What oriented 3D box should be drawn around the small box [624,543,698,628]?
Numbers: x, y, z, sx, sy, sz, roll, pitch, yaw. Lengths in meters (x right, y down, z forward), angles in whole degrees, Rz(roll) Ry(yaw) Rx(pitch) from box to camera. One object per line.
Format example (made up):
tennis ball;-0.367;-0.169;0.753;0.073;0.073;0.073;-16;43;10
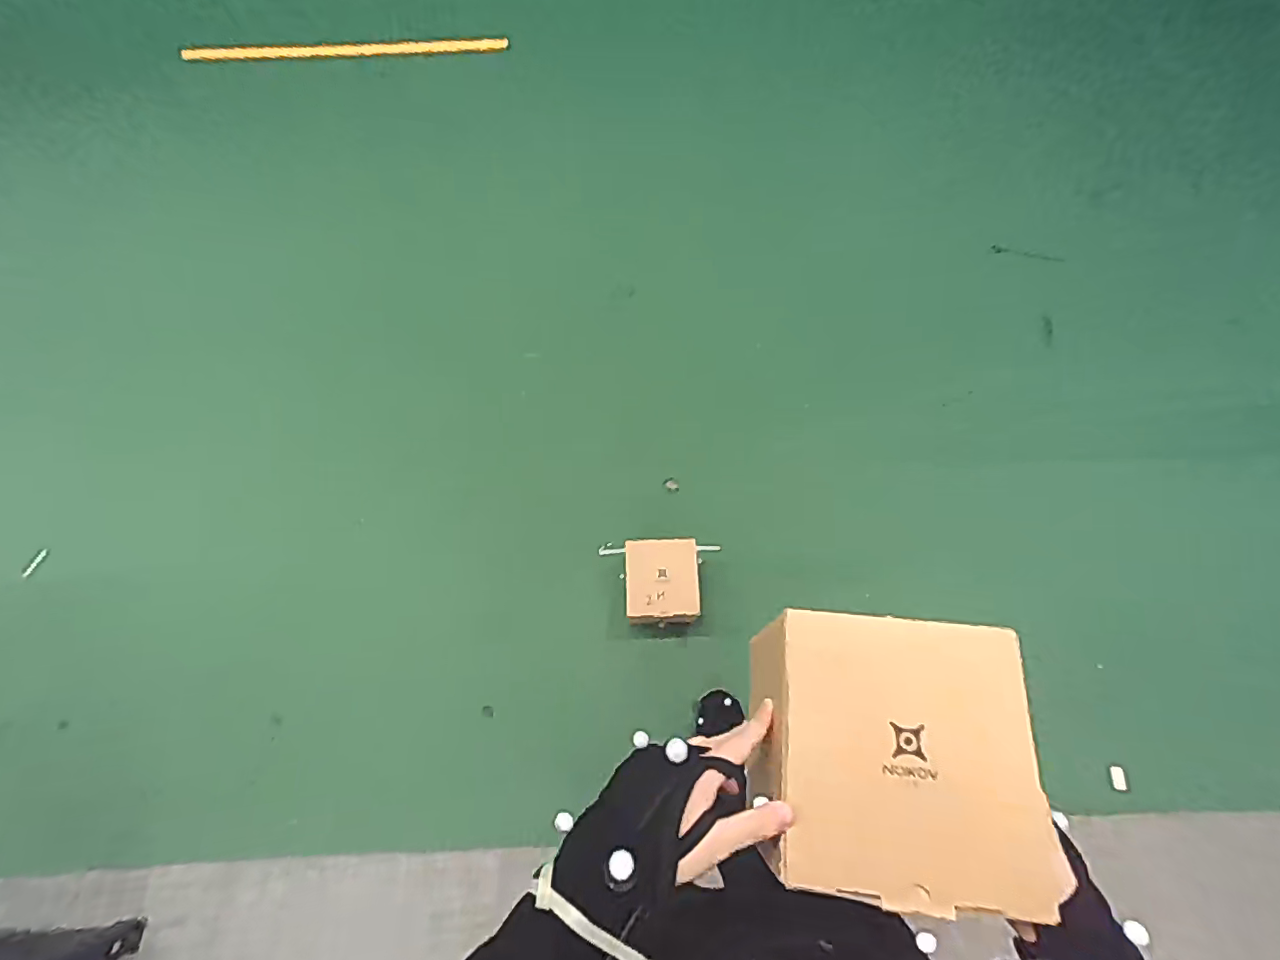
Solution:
small box;0.044;0.256;1.294;0.168;0.176;0.179;-1;69;-1
